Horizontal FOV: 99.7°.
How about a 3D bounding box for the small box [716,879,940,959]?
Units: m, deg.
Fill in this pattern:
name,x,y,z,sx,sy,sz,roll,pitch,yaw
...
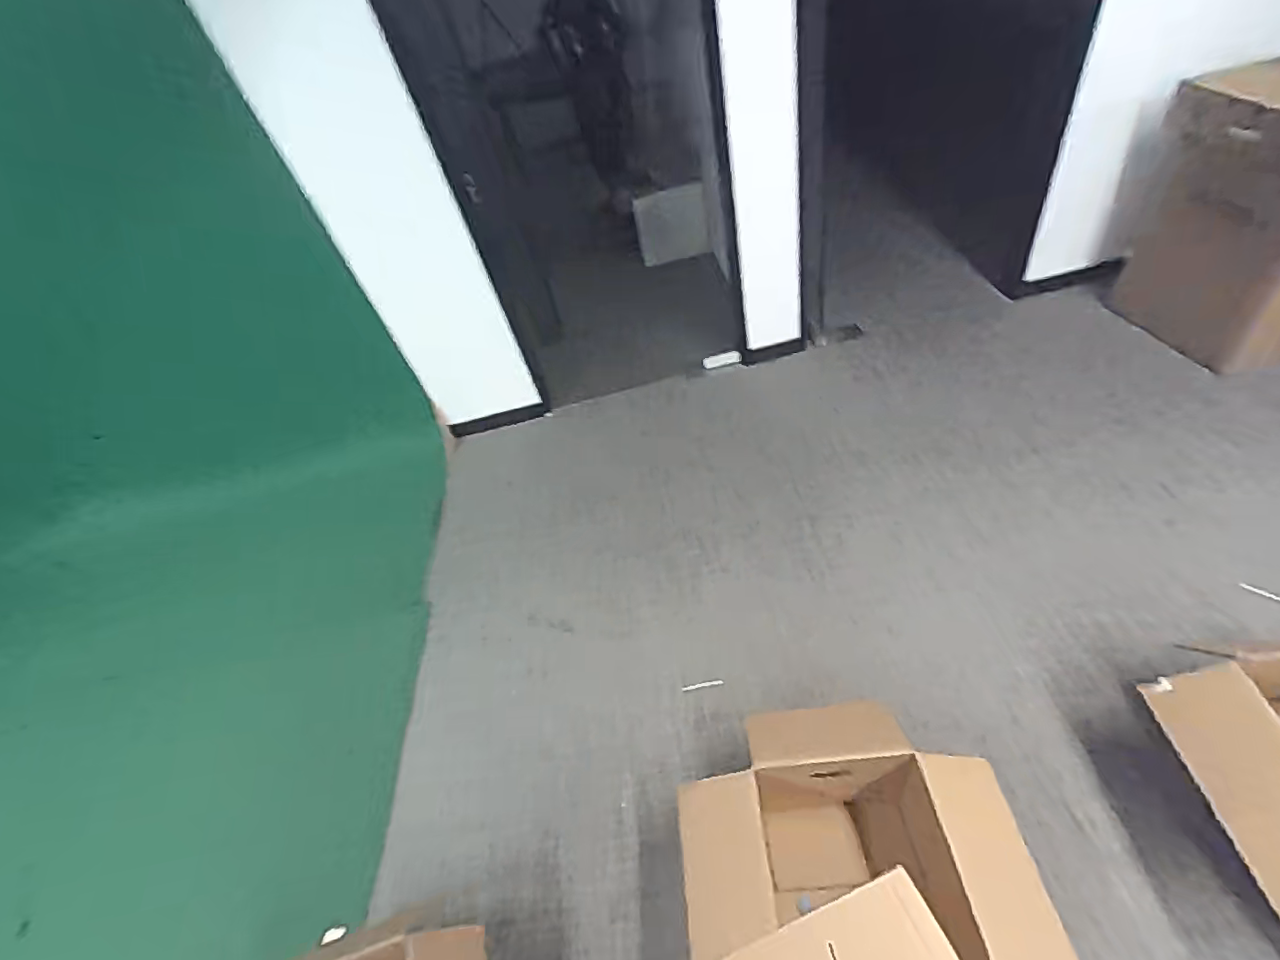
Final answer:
name,x,y,z,sx,sy,sz,roll,pitch,yaw
small box,0.163,0.444,0.409,0.168,0.176,0.179,-21,46,-7
